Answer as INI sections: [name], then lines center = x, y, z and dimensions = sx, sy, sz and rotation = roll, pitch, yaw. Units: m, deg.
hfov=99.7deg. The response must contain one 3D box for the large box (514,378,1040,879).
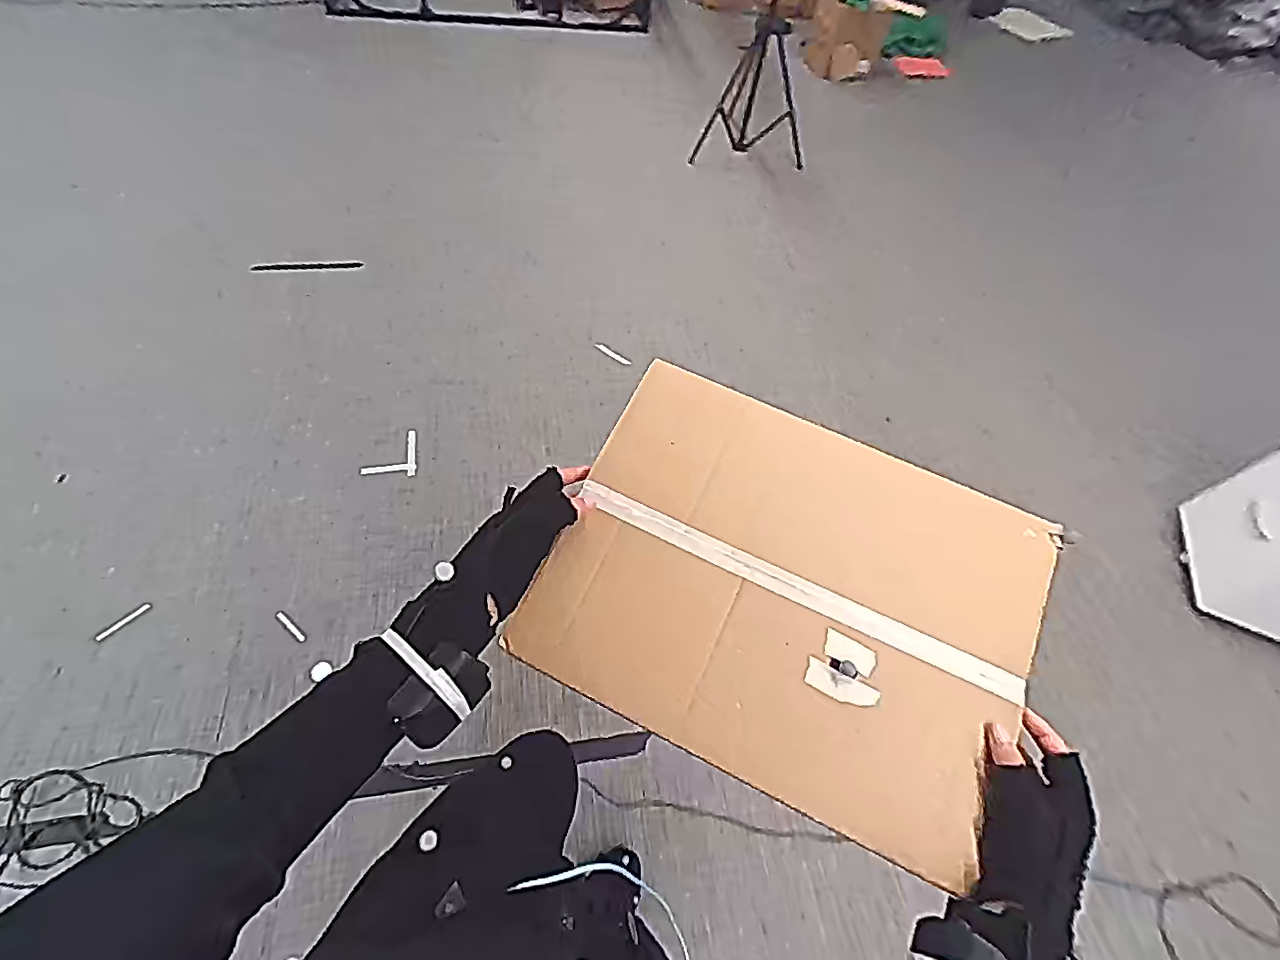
[large box]
center = 0.129, 0.149, 0.625
dimensions = 0.408, 0.320, 0.320
rotation = 25, 73, 9
